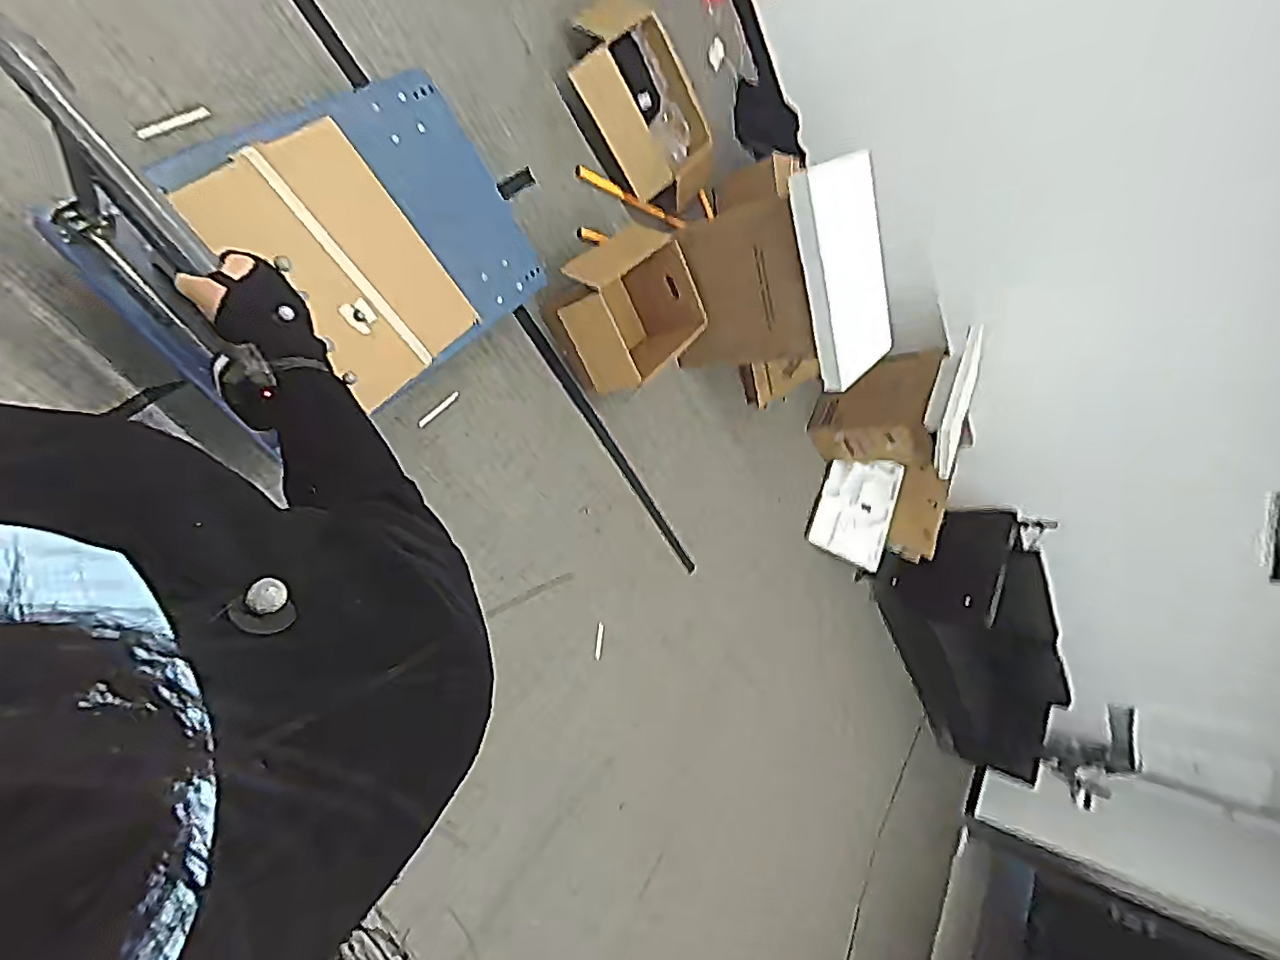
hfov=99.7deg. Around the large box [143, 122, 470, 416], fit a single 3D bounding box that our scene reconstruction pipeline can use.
[{"bbox_3d":[-0.634,-0.377,1.058,0.320,0.320,0.408,-53,127,-29],"label":"large box"}]
